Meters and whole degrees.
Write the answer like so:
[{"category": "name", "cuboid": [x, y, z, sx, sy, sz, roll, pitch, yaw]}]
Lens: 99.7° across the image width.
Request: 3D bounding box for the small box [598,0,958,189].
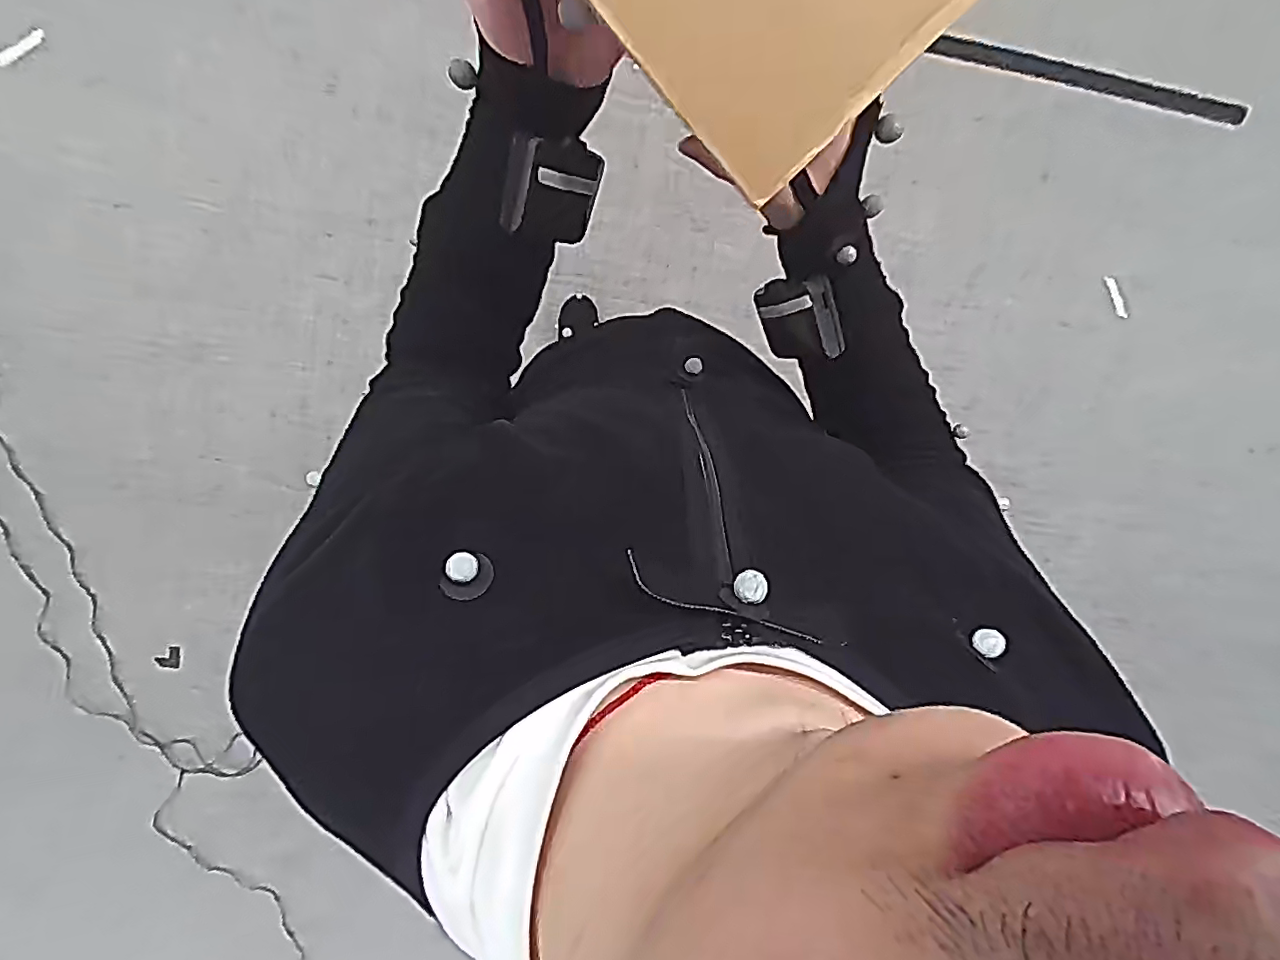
[{"category": "small box", "cuboid": [0.049, -0.254, 0.198, 0.168, 0.176, 0.179, 37, 121, -26]}]
